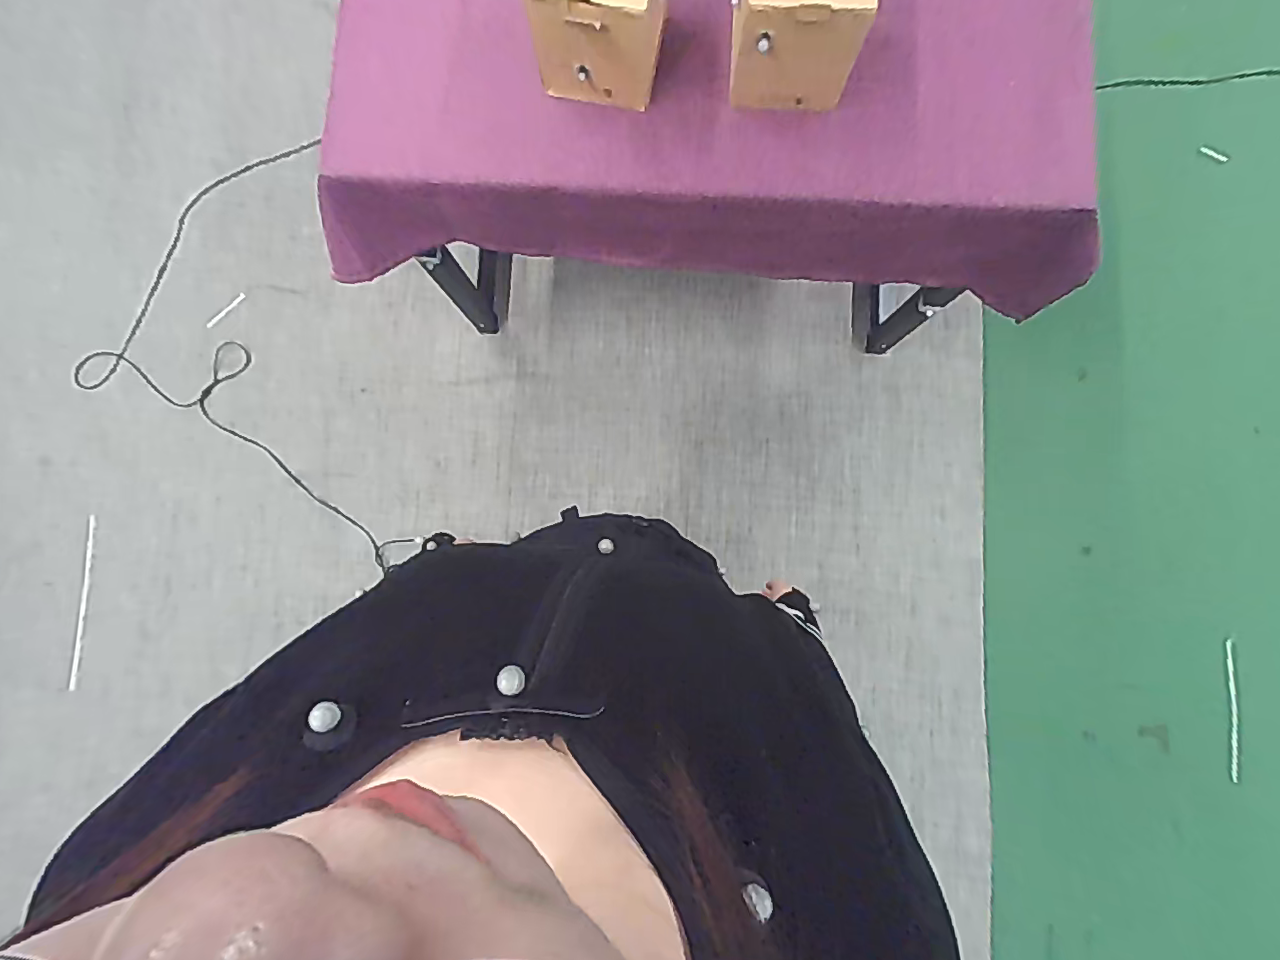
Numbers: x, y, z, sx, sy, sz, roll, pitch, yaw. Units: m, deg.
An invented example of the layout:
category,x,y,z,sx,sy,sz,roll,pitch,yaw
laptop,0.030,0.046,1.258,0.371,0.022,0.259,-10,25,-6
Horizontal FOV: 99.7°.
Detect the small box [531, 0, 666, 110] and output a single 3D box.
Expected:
category,x,y,z,sx,sy,sz,roll,pitch,yaw
small box,-0.054,-0.699,0.796,0.168,0.176,0.179,11,86,2
